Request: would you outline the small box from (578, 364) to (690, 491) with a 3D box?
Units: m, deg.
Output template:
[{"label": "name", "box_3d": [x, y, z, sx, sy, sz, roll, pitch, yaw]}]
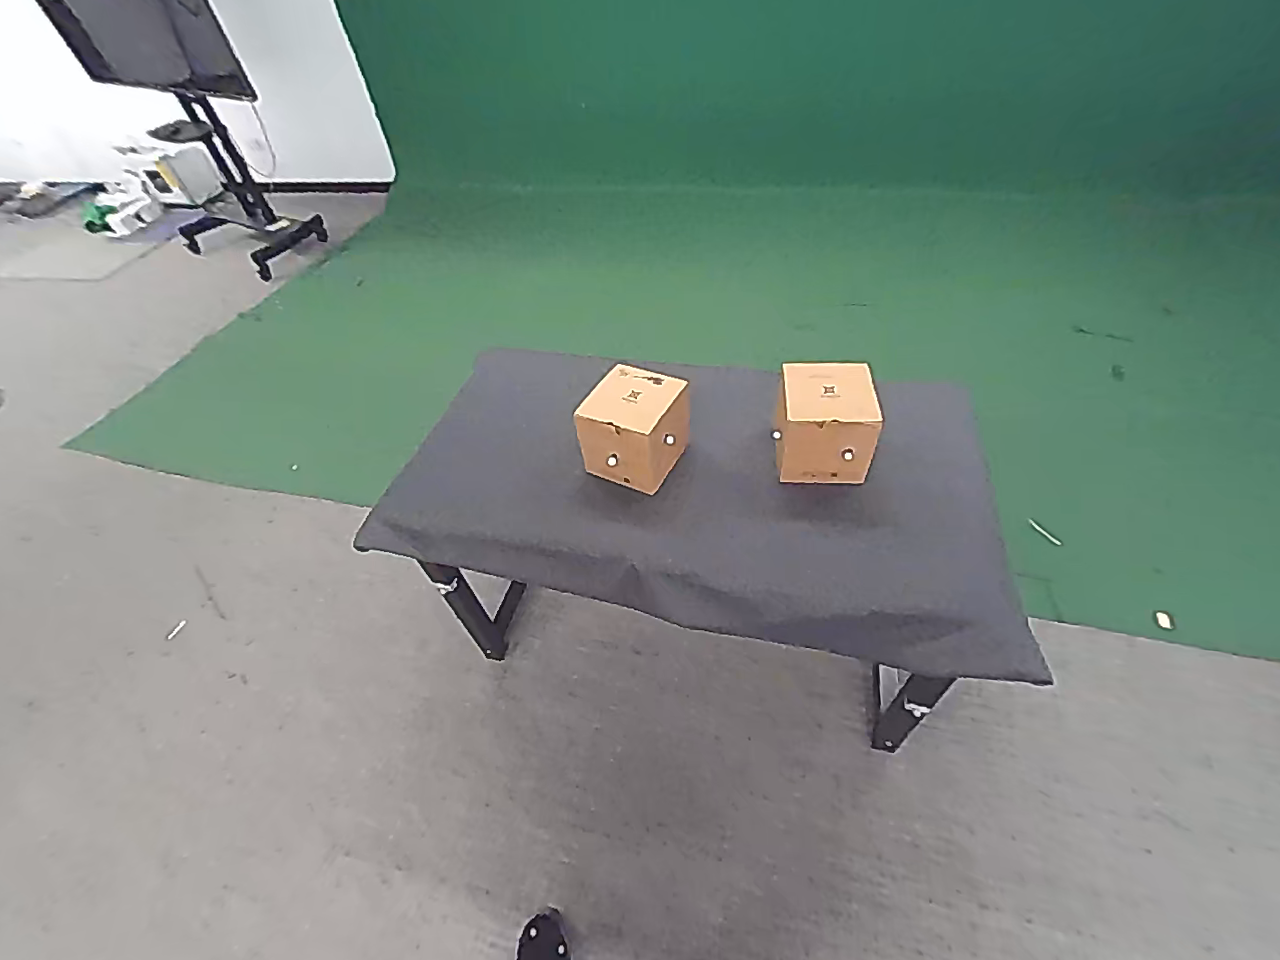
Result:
[{"label": "small box", "box_3d": [-0.003, -0.106, 1.117, 0.168, 0.176, 0.179, 20, 53, 22]}]

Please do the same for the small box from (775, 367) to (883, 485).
[{"label": "small box", "box_3d": [0.367, -0.107, 1.081, 0.168, 0.176, 0.179, 3, 47, 7]}]
